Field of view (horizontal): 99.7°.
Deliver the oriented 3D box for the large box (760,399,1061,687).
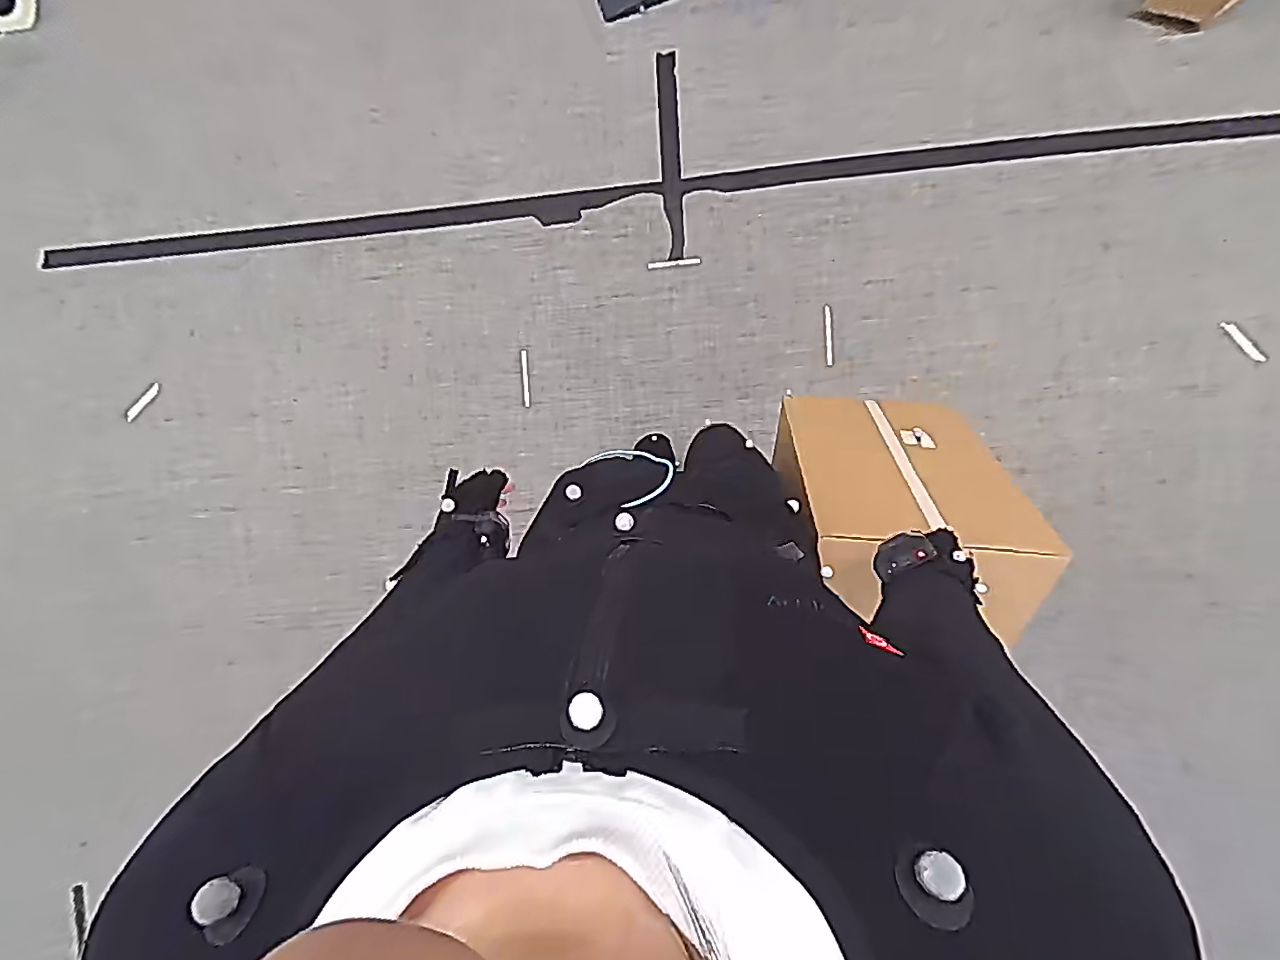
[{"bbox_3d":[0.400,0.092,0.940,0.320,0.408,0.320,5,124,3],"label":"large box"}]
